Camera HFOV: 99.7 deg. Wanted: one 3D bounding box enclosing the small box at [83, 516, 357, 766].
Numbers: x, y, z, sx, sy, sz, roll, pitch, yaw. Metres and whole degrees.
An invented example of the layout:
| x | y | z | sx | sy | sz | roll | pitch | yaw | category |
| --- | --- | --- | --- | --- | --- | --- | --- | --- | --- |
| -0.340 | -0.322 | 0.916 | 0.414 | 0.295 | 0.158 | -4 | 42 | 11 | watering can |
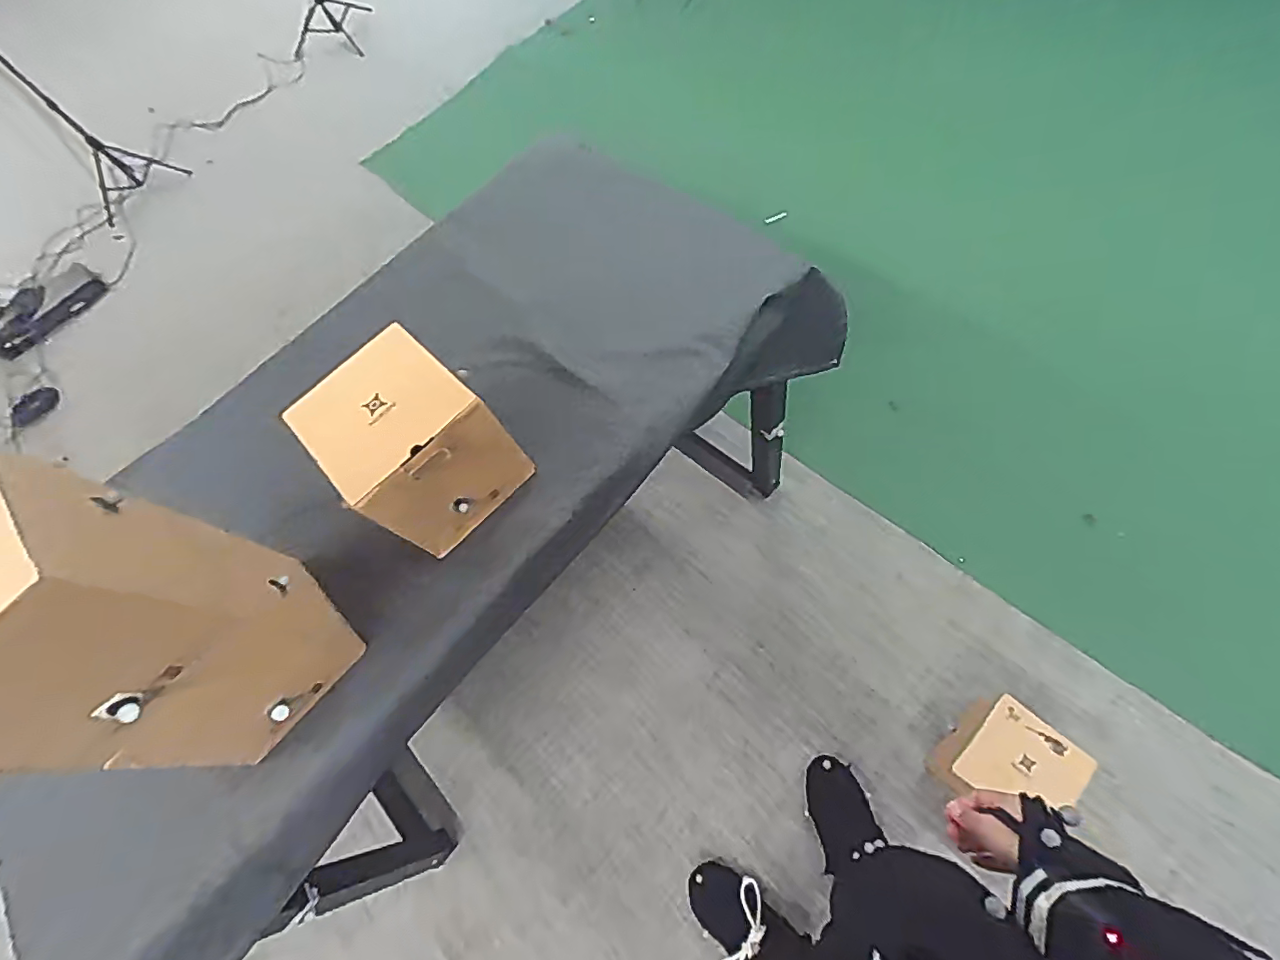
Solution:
| x | y | z | sx | sy | sz | roll | pitch | yaw | category |
| --- | --- | --- | --- | --- | --- | --- | --- | --- | --- |
| -0.453 | 0.174 | 0.576 | 0.179 | 0.176 | 0.168 | 37 | 77 | 24 | small box |

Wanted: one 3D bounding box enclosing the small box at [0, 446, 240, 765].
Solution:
| x | y | z | sx | sy | sz | roll | pitch | yaw | category |
| --- | --- | --- | --- | --- | --- | --- | --- | --- | --- |
| -0.482 | 0.105 | 0.432 | 0.179 | 0.176 | 0.168 | 36 | 78 | 23 | small box |

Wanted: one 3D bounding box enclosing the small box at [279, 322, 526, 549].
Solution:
| x | y | z | sx | sy | sz | roll | pitch | yaw | category |
| --- | --- | --- | --- | --- | --- | --- | --- | --- | --- |
| -0.269 | -0.045 | 0.645 | 0.179 | 0.176 | 0.168 | 40 | 78 | 25 | small box |

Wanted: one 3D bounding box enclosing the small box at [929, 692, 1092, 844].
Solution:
| x | y | z | sx | sy | sz | roll | pitch | yaw | category |
| --- | --- | --- | --- | --- | --- | --- | --- | --- | --- |
| 0.666 | 0.523 | 0.999 | 0.168 | 0.176 | 0.179 | 39 | 79 | 25 | small box |
